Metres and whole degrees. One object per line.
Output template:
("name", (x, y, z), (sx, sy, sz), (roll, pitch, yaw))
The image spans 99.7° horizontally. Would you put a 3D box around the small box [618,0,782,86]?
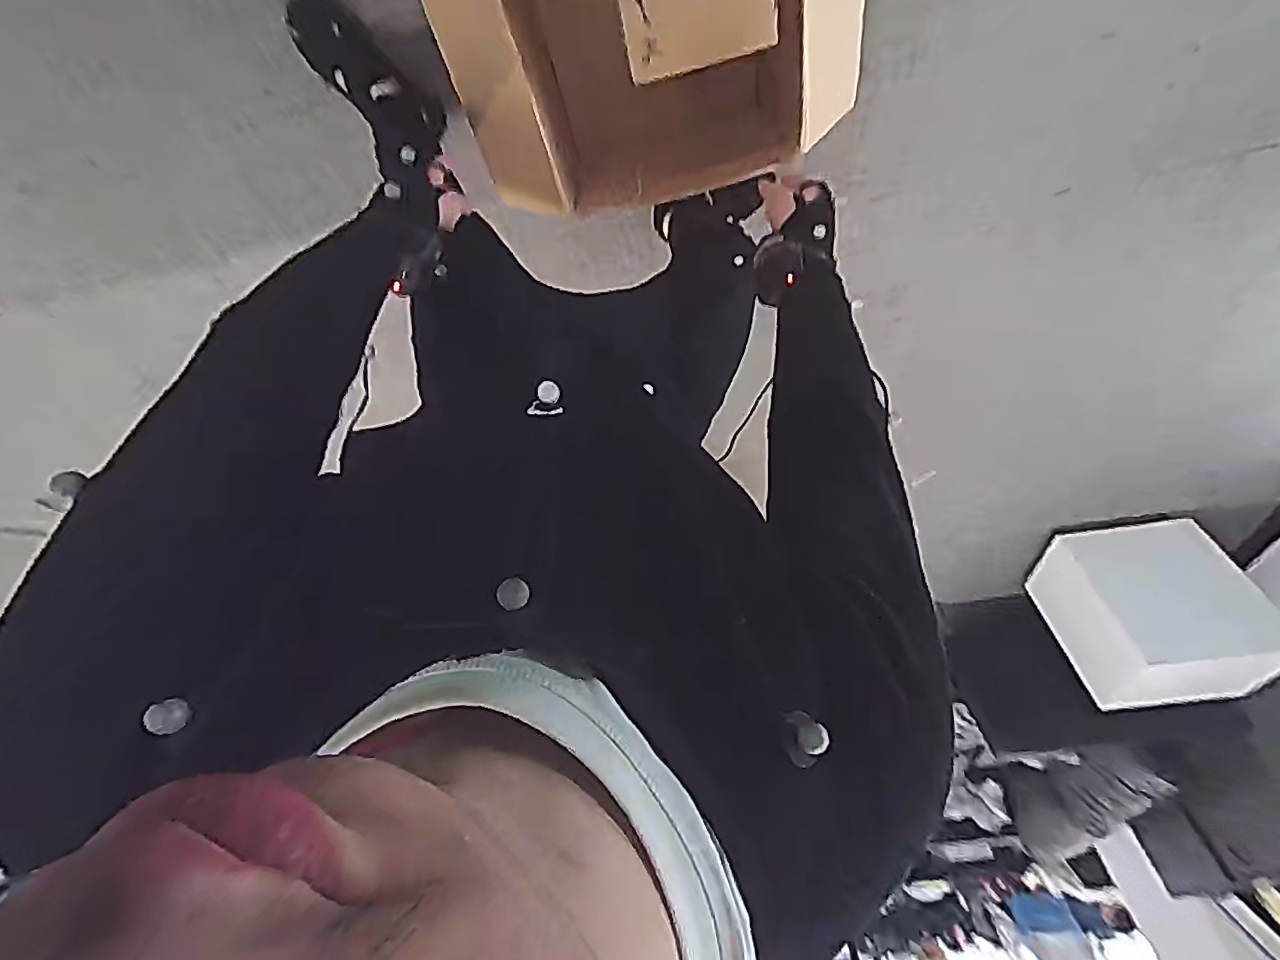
("small box", (0.060, -0.605, 0.642), (0.179, 0.176, 0.168), (-12, 136, 6))
